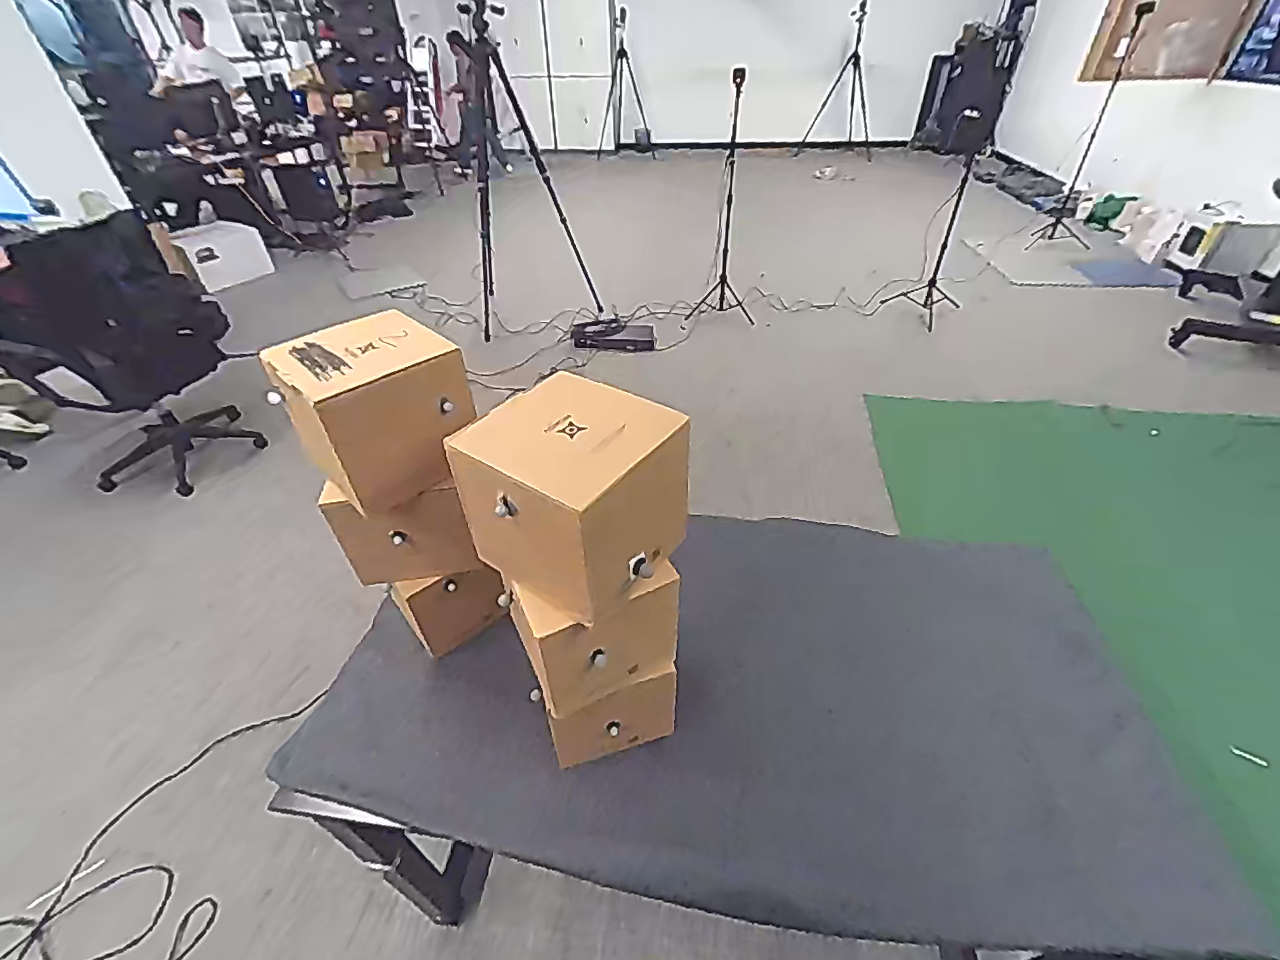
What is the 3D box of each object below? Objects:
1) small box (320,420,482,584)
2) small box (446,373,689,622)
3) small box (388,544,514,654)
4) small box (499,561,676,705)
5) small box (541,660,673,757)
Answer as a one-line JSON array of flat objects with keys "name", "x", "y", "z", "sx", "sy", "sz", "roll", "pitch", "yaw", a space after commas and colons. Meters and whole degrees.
[{"name": "small box", "x": -0.333, "y": 0.033, "z": 0.805, "sx": 0.179, "sy": 0.176, "sz": 0.168, "roll": -8, "pitch": 41, "yaw": -7}, {"name": "small box", "x": -0.066, "y": 0.015, "z": 0.565, "sx": 0.179, "sy": 0.176, "sz": 0.168, "roll": 24, "pitch": 47, "yaw": 28}, {"name": "small box", "x": -0.328, "y": 0.156, "z": 0.915, "sx": 0.168, "sy": 0.176, "sz": 0.179, "roll": -31, "pitch": 48, "yaw": -30}, {"name": "small box", "x": -0.066, "y": 0.146, "z": 0.662, "sx": 0.168, "sy": 0.176, "sz": 0.179, "roll": -20, "pitch": 42, "yaw": -20}, {"name": "small box", "x": -0.055, "y": 0.267, "z": 0.770, "sx": 0.168, "sy": 0.176, "sz": 0.179, "roll": -12, "pitch": 40, "yaw": -12}]
